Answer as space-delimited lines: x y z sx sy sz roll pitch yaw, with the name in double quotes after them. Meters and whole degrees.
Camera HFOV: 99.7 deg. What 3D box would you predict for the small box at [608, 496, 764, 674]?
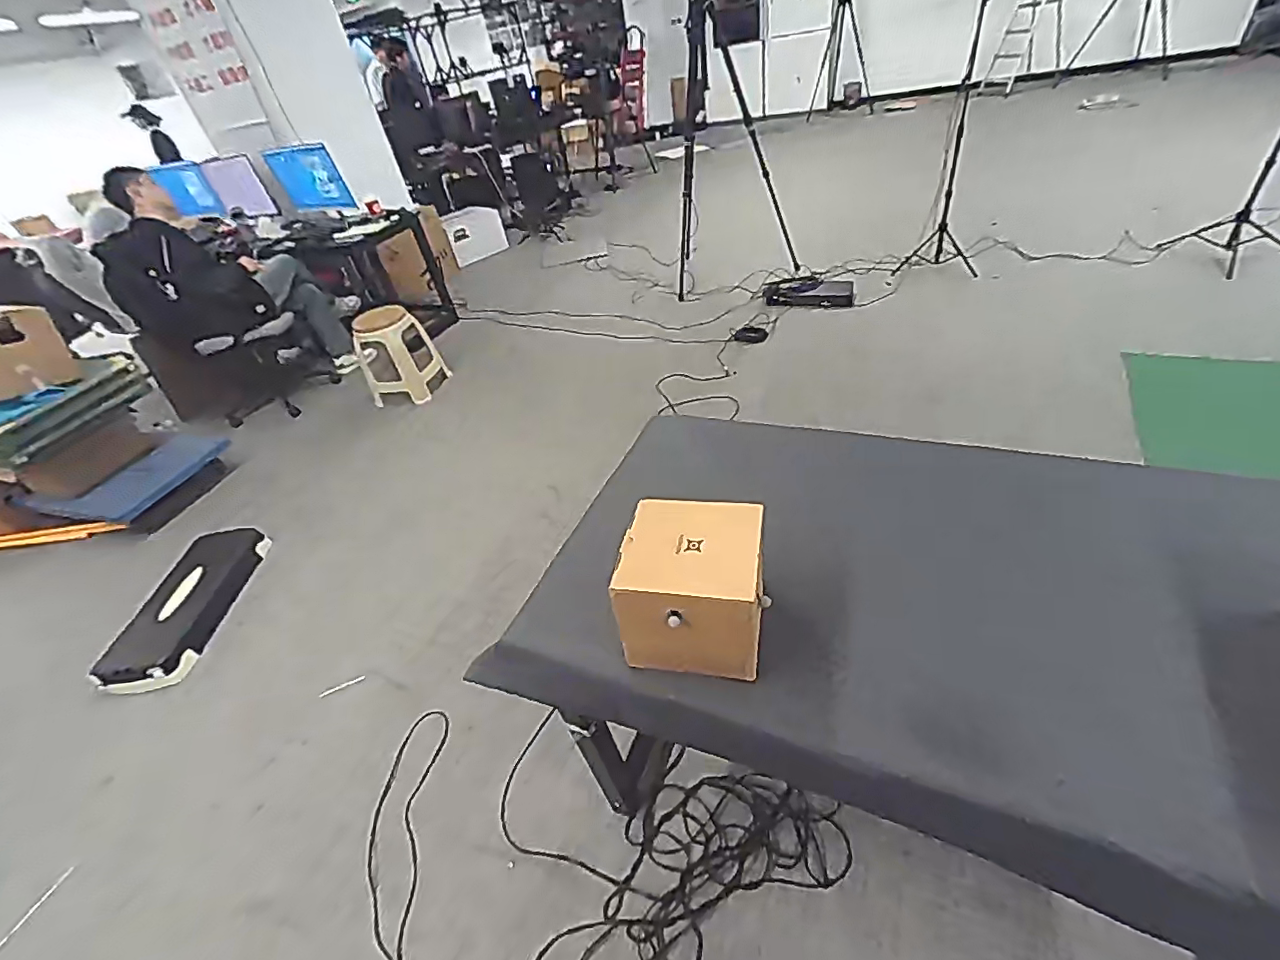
0.075 0.141 0.734 0.179 0.176 0.168 2 40 16 "small box"
